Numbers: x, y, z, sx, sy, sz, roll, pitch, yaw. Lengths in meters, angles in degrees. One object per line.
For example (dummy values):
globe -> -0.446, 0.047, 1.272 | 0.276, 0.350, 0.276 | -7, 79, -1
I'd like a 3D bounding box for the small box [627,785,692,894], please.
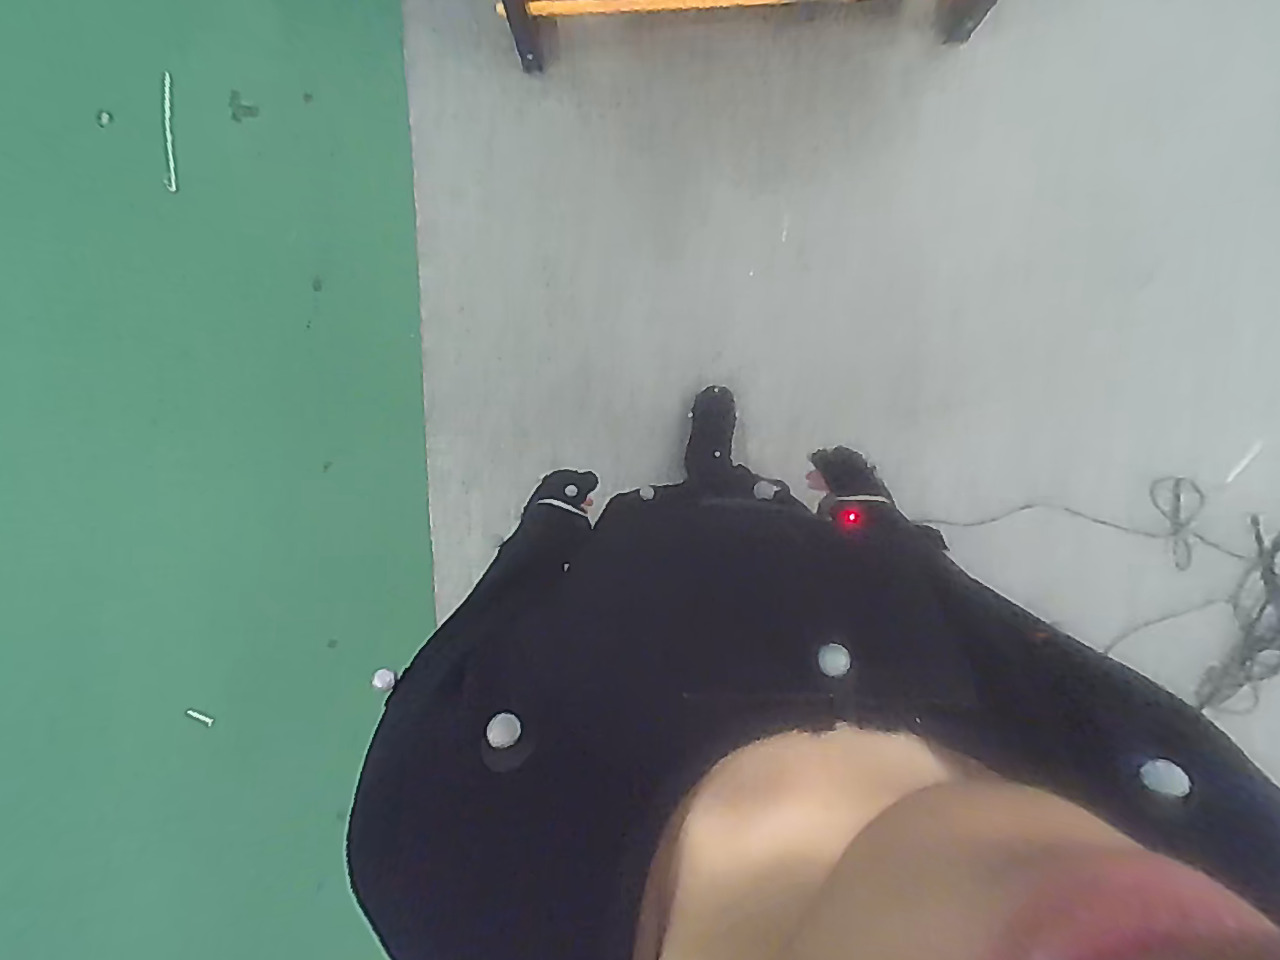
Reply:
small box -> 0.052, 0.936, 1.418 | 0.168, 0.176, 0.179 | -1, 91, 2
